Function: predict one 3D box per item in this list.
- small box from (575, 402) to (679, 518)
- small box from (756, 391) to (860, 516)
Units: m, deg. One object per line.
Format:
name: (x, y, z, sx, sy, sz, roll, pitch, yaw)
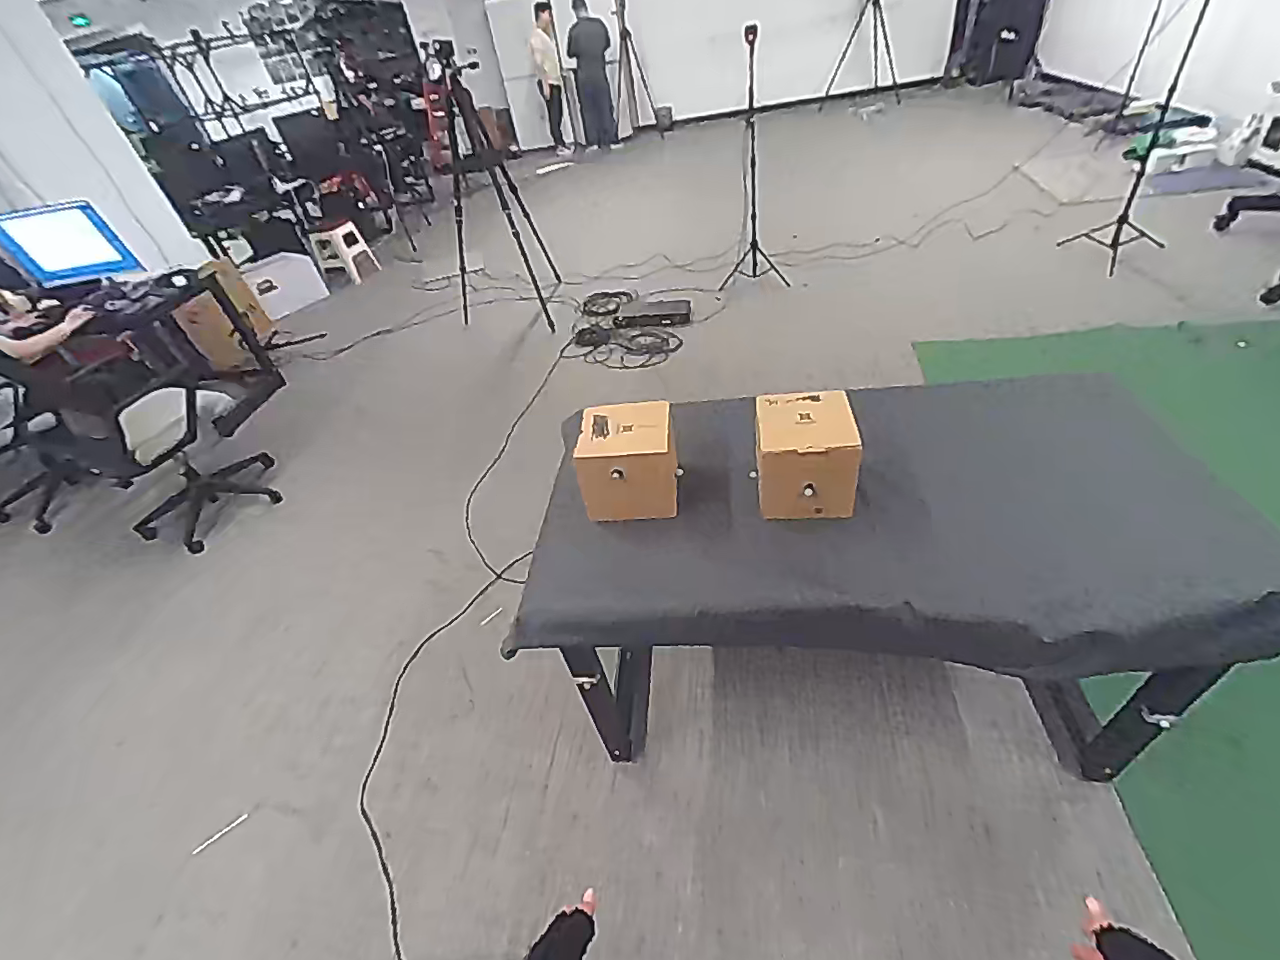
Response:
small box: (-0.017, -0.037, 1.081, 0.179, 0.176, 0.168, -3, 42, 8)
small box: (0.308, -0.045, 1.019, 0.168, 0.176, 0.179, -2, 42, 11)
